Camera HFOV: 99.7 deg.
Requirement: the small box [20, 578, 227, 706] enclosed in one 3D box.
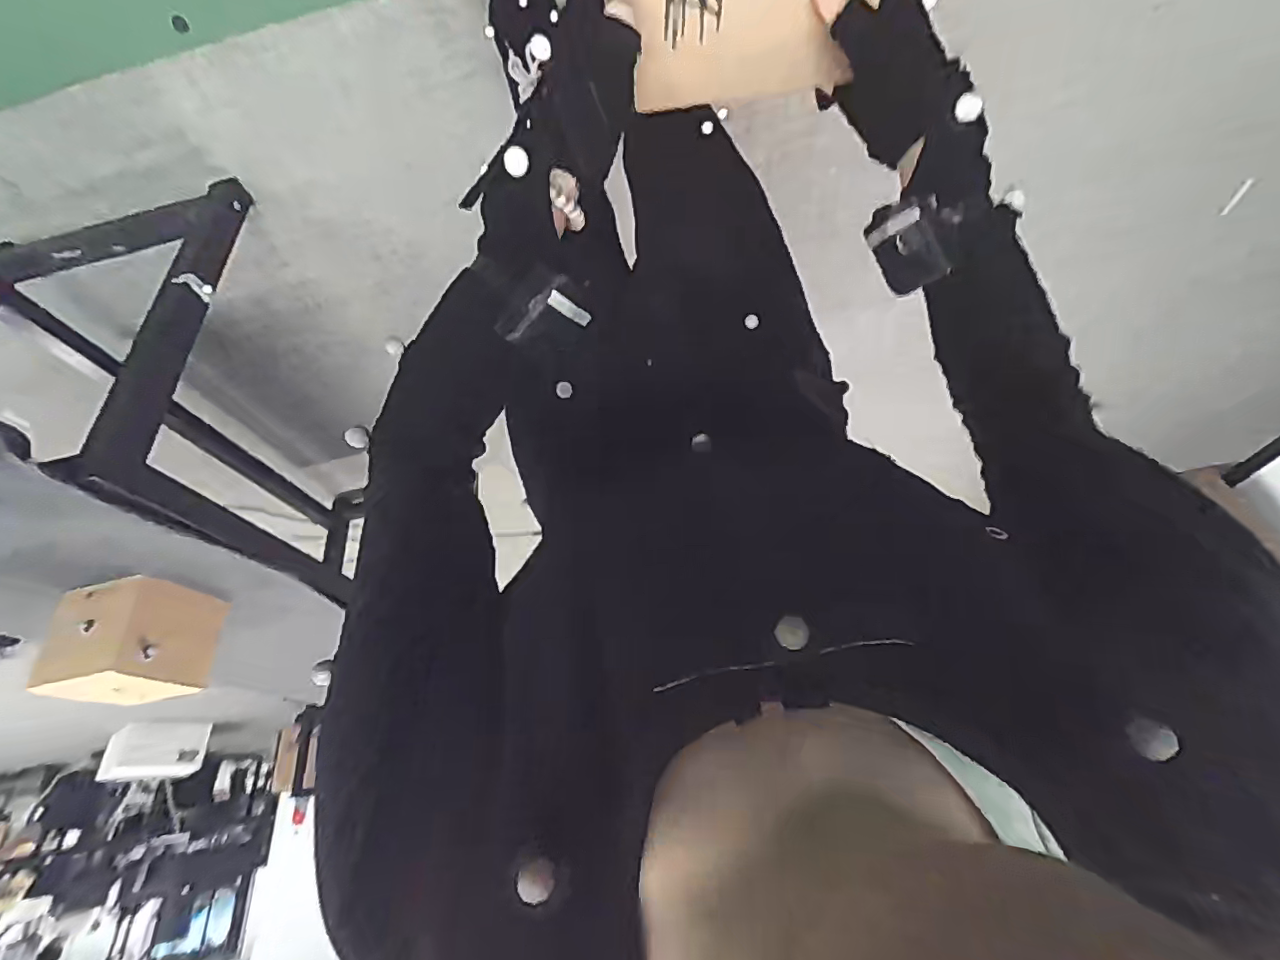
[{"bbox_3d":[-0.882,0.281,0.945,0.168,0.176,0.179,-13,148,6],"label":"small box"}]
